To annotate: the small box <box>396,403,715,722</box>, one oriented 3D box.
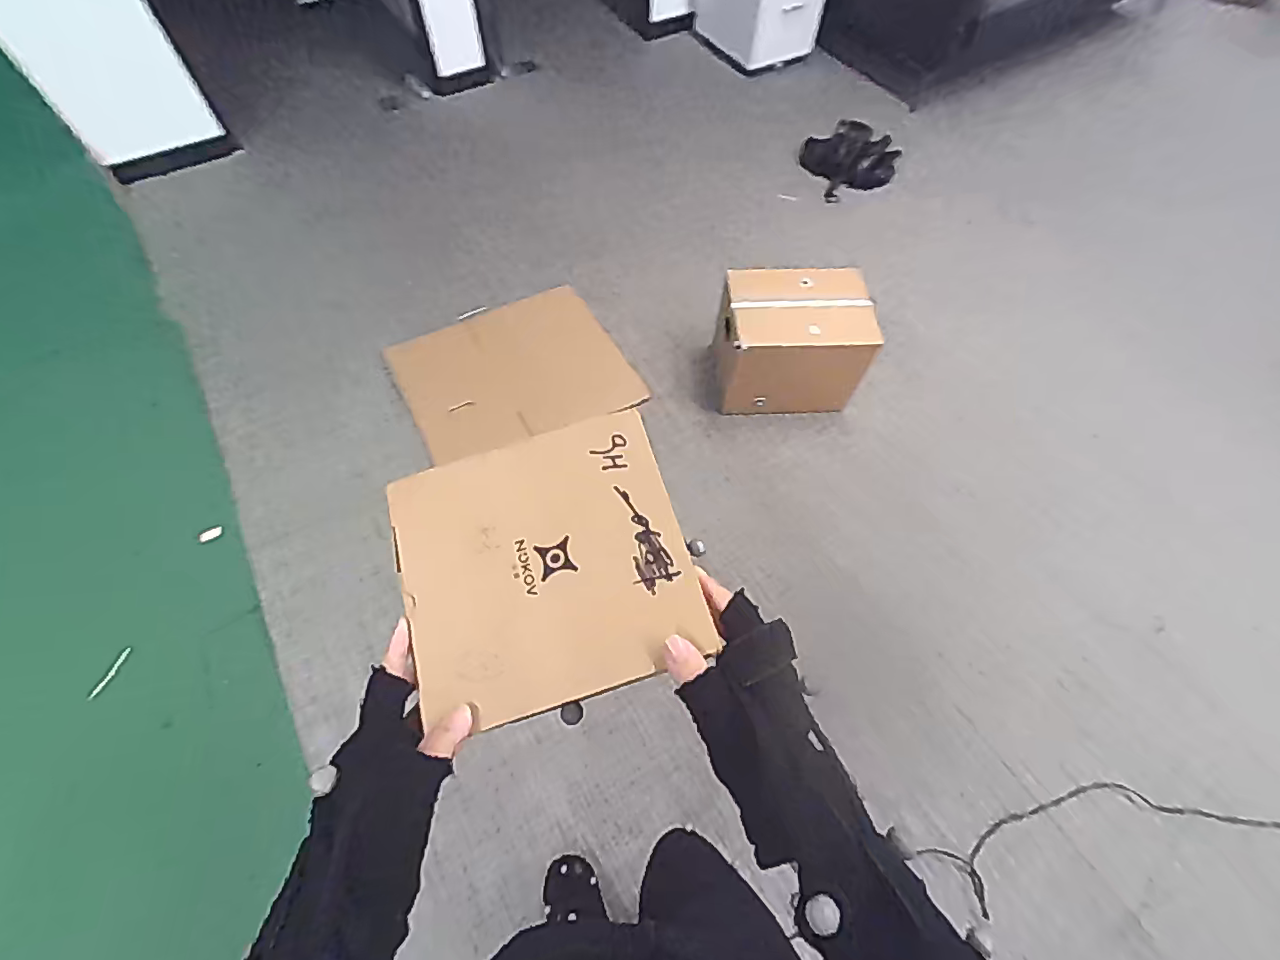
[{"bbox_3d":[-0.055,0.074,0.418,0.179,0.176,0.168,-20,68,-5],"label":"small box"}]
